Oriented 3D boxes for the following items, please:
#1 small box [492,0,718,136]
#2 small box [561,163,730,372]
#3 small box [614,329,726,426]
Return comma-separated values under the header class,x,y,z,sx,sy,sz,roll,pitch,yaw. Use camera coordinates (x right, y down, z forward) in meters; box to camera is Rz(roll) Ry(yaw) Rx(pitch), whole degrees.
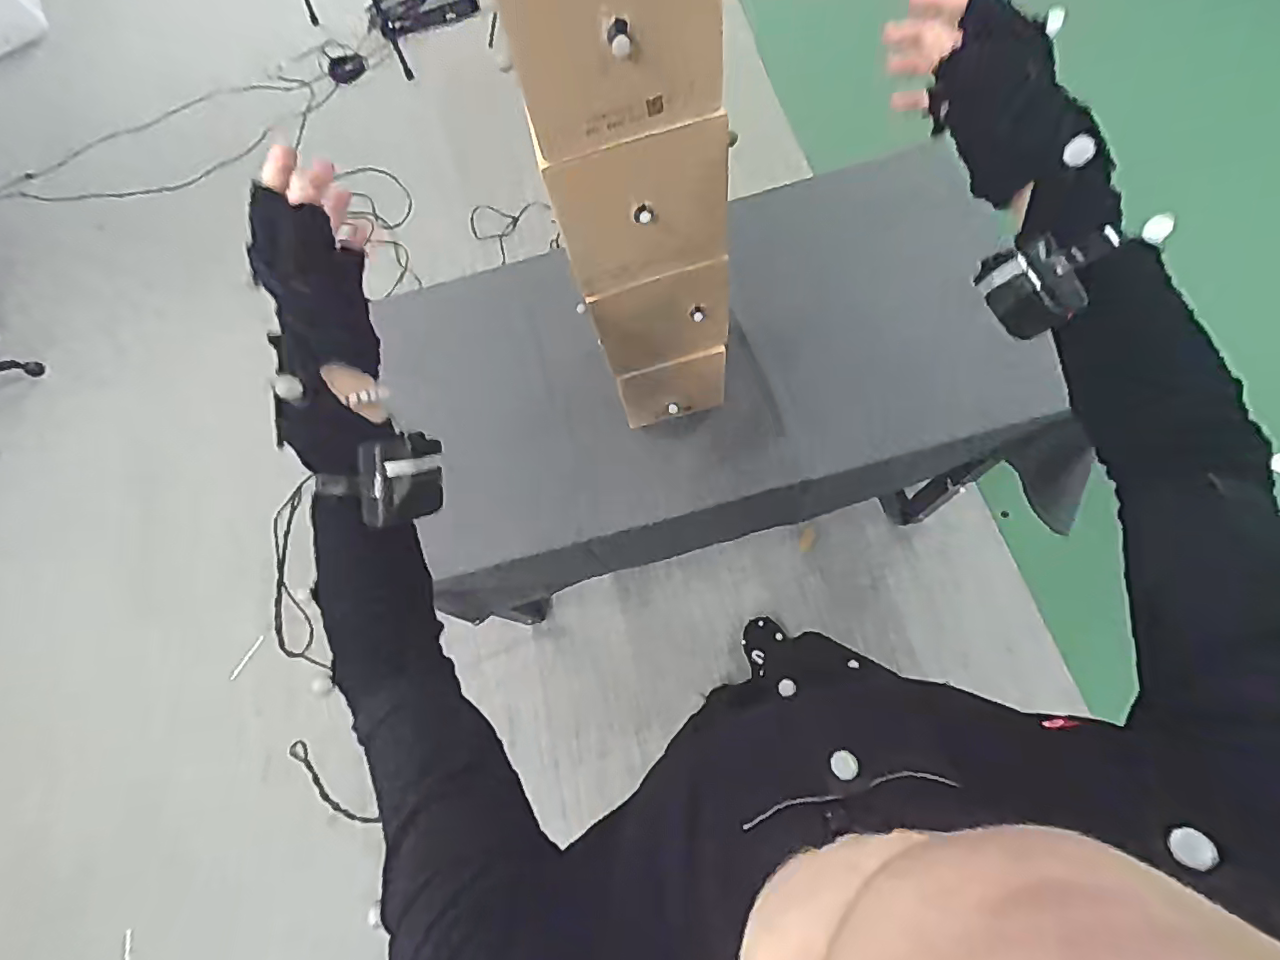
class,x,y,z,sx,sy,sz,roll,pitch,yaw
small box,-0.037,-0.412,0.431,0.168,0.176,0.179,-16,67,2
small box,0.010,-0.274,0.724,0.179,0.176,0.168,-17,67,1
small box,0.036,-0.213,0.873,0.168,0.176,0.179,-14,68,2
